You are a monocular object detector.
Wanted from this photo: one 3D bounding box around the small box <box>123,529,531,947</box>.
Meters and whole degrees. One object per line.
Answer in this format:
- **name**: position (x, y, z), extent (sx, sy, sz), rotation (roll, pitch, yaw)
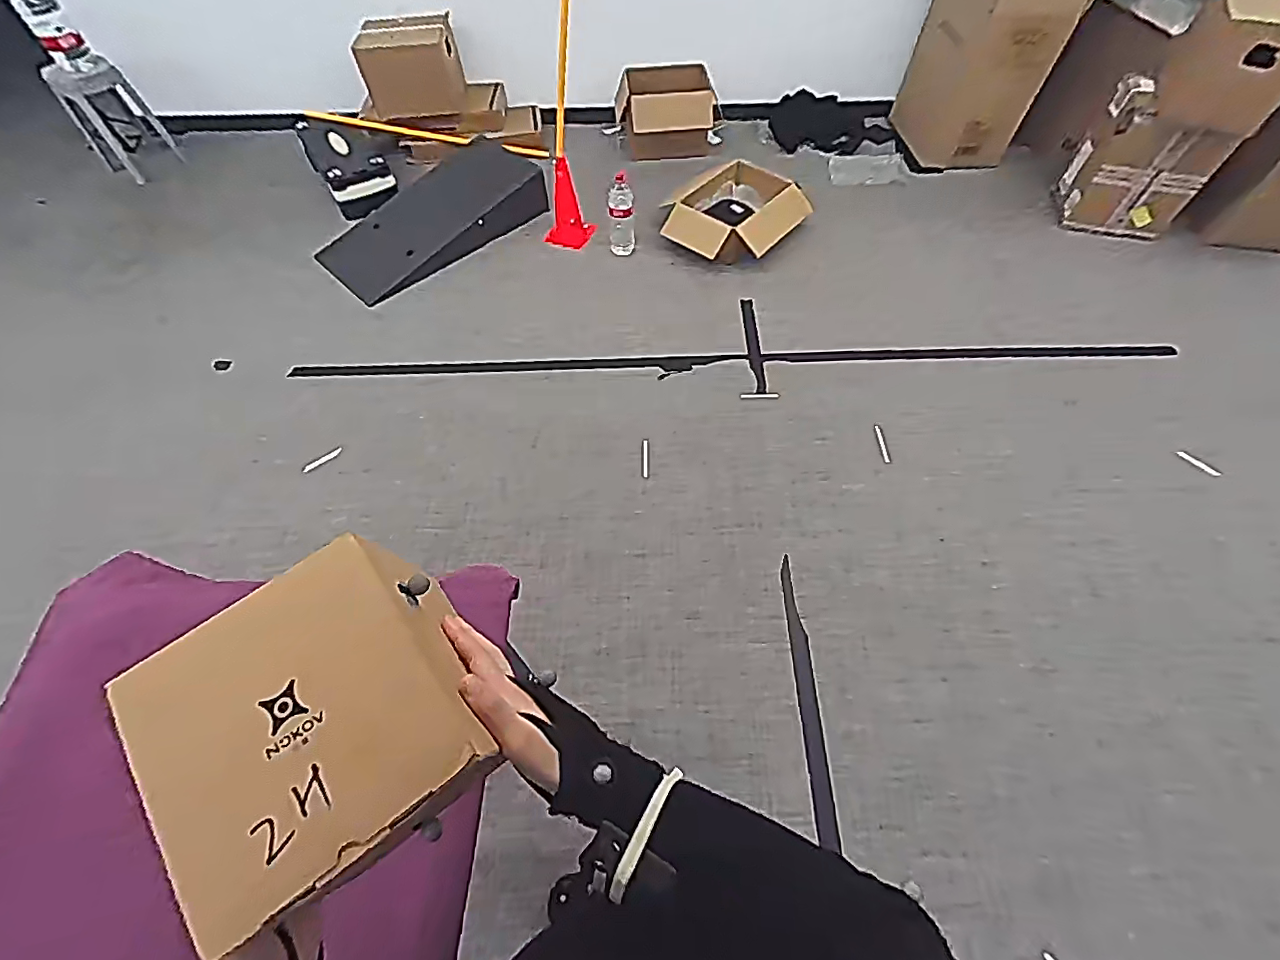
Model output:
- **small box**: position (-0.205, 0.170, 0.400), extent (0.168, 0.176, 0.179), rotation (-35, 71, -13)
